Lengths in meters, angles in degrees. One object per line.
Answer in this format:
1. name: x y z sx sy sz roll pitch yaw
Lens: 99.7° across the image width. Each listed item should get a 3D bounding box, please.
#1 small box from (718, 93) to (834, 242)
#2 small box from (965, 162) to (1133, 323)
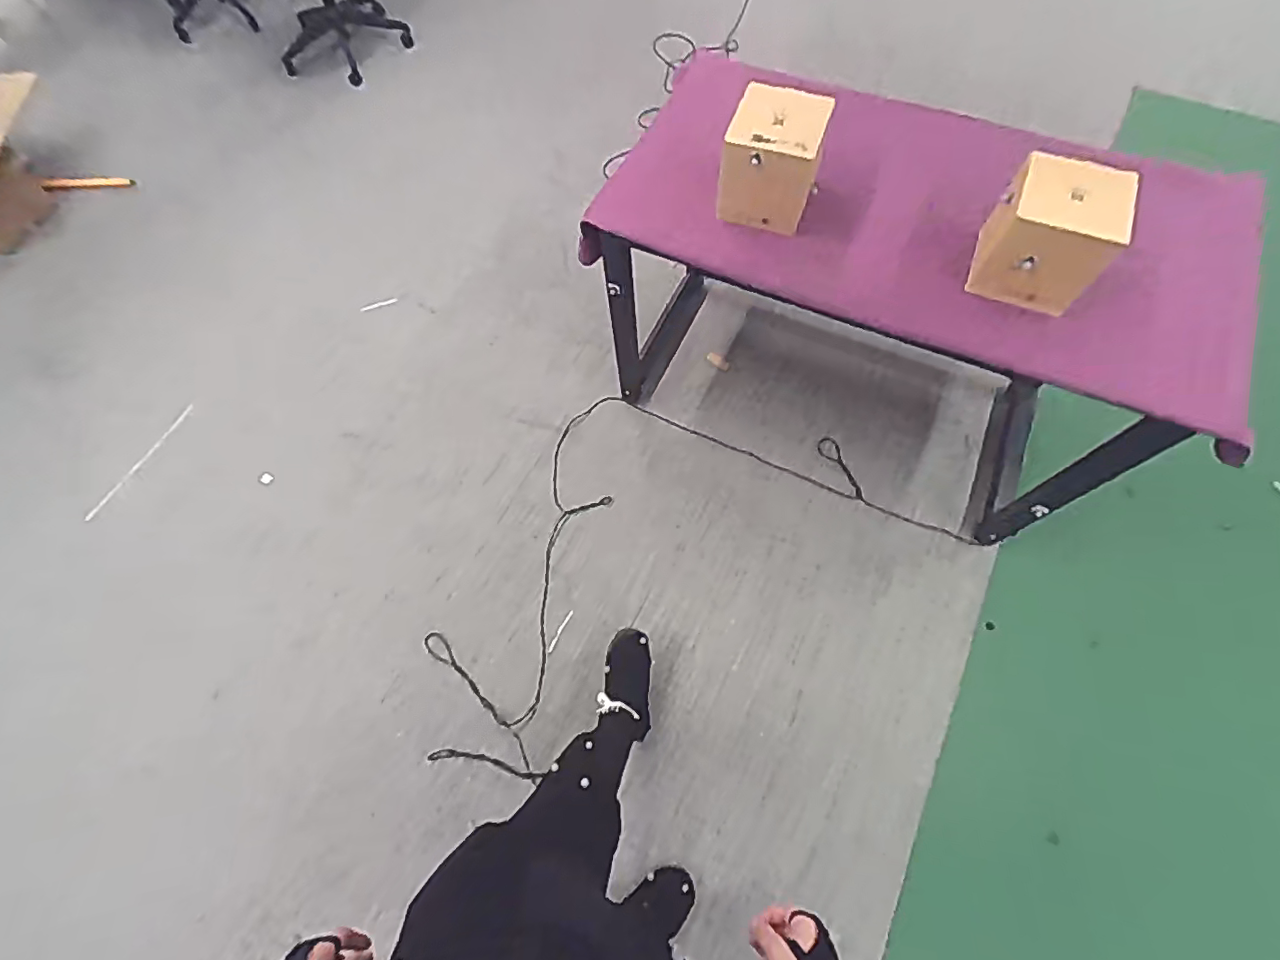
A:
1. small box: 0.256 -0.603 1.052 0.168 0.176 0.179 18 68 11
2. small box: 0.700 -0.407 0.942 0.168 0.176 0.179 22 67 13
